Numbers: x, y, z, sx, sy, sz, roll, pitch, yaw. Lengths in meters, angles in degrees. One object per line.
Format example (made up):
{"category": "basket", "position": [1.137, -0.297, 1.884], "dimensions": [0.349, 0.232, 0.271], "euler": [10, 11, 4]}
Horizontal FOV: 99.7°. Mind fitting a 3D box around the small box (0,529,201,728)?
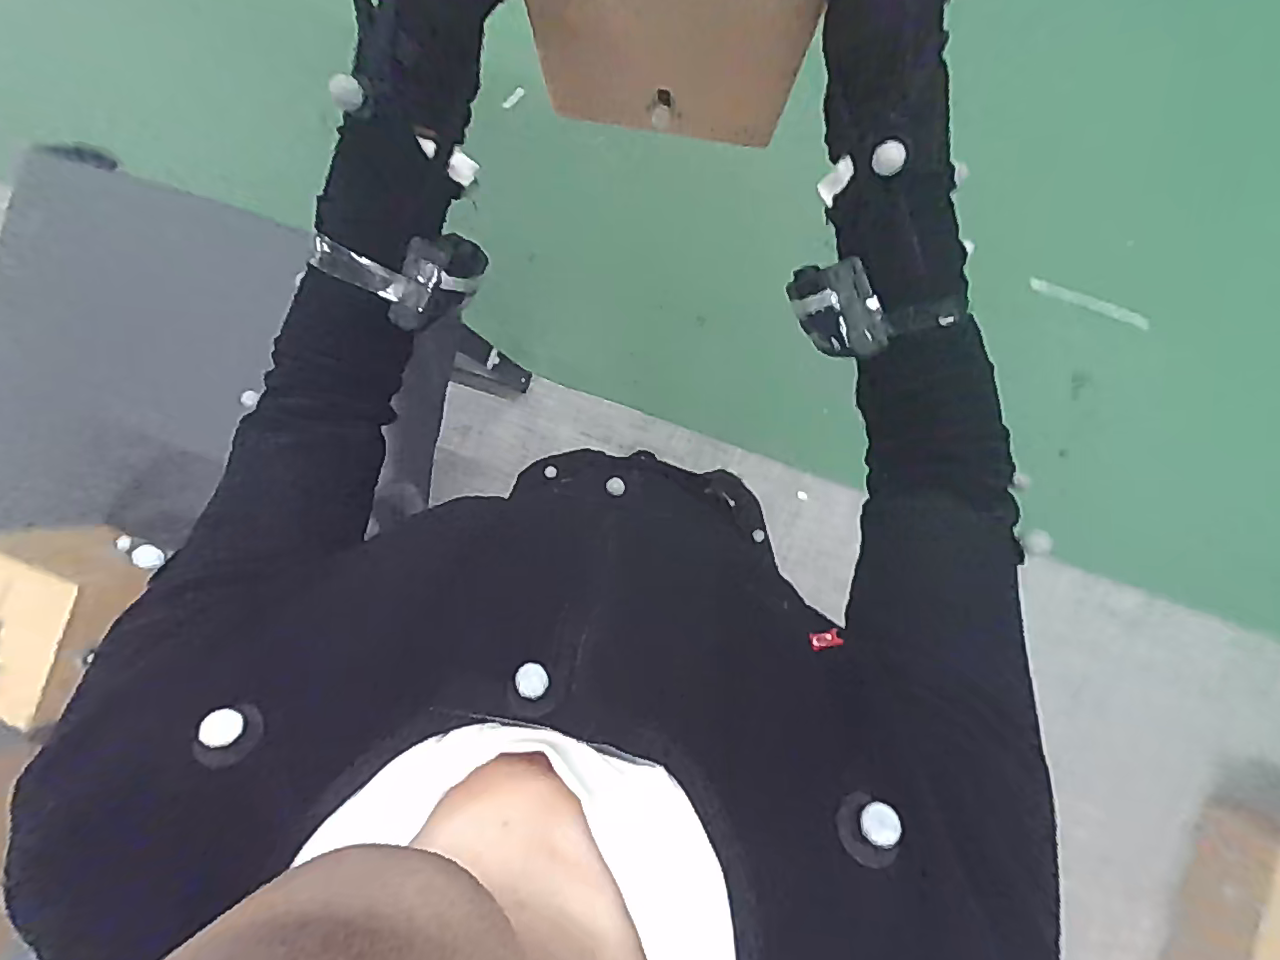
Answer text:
{"category": "small box", "position": [-0.724, 0.175, 0.696], "dimensions": [0.168, 0.176, 0.179], "euler": [20, 91, 3]}
